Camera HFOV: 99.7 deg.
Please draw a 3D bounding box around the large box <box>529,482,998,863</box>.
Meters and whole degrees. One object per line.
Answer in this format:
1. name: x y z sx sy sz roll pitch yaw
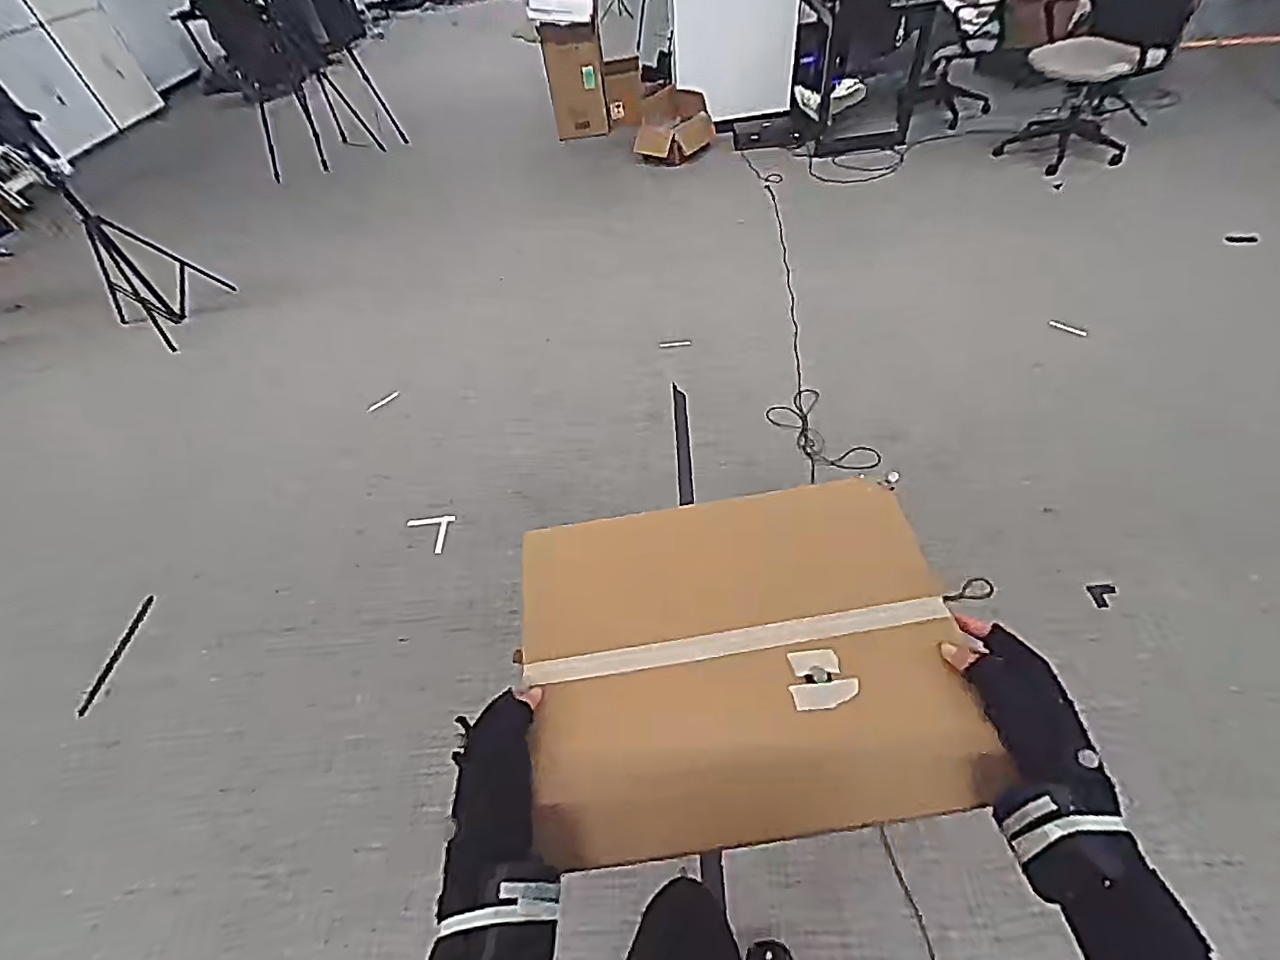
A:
1. large box: 0.102 0.243 0.661 0.408 0.320 0.320 -10 57 0
